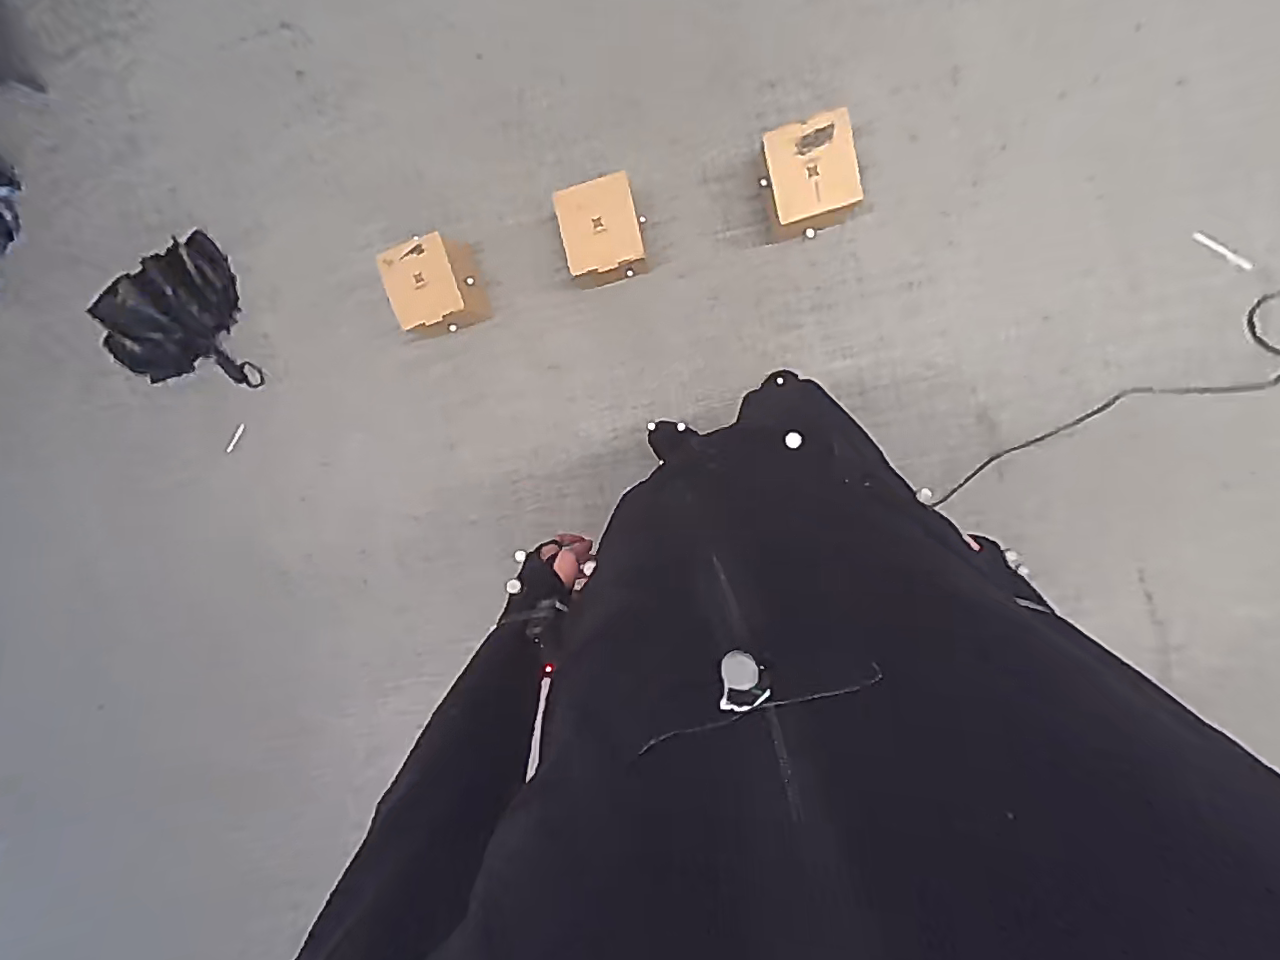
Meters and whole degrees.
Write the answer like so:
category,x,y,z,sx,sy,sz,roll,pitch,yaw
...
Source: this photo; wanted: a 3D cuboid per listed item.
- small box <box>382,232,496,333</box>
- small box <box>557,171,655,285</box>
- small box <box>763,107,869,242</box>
category,x,y,z,sx,sy,sz,roll,pitch,yaw
small box,-0.467,-0.457,1.286,0.168,0.176,0.179,-16,98,10
small box,-0.067,-0.550,1.213,0.168,0.176,0.179,-13,98,9
small box,0.359,-0.626,1.133,0.168,0.176,0.179,-13,99,11
